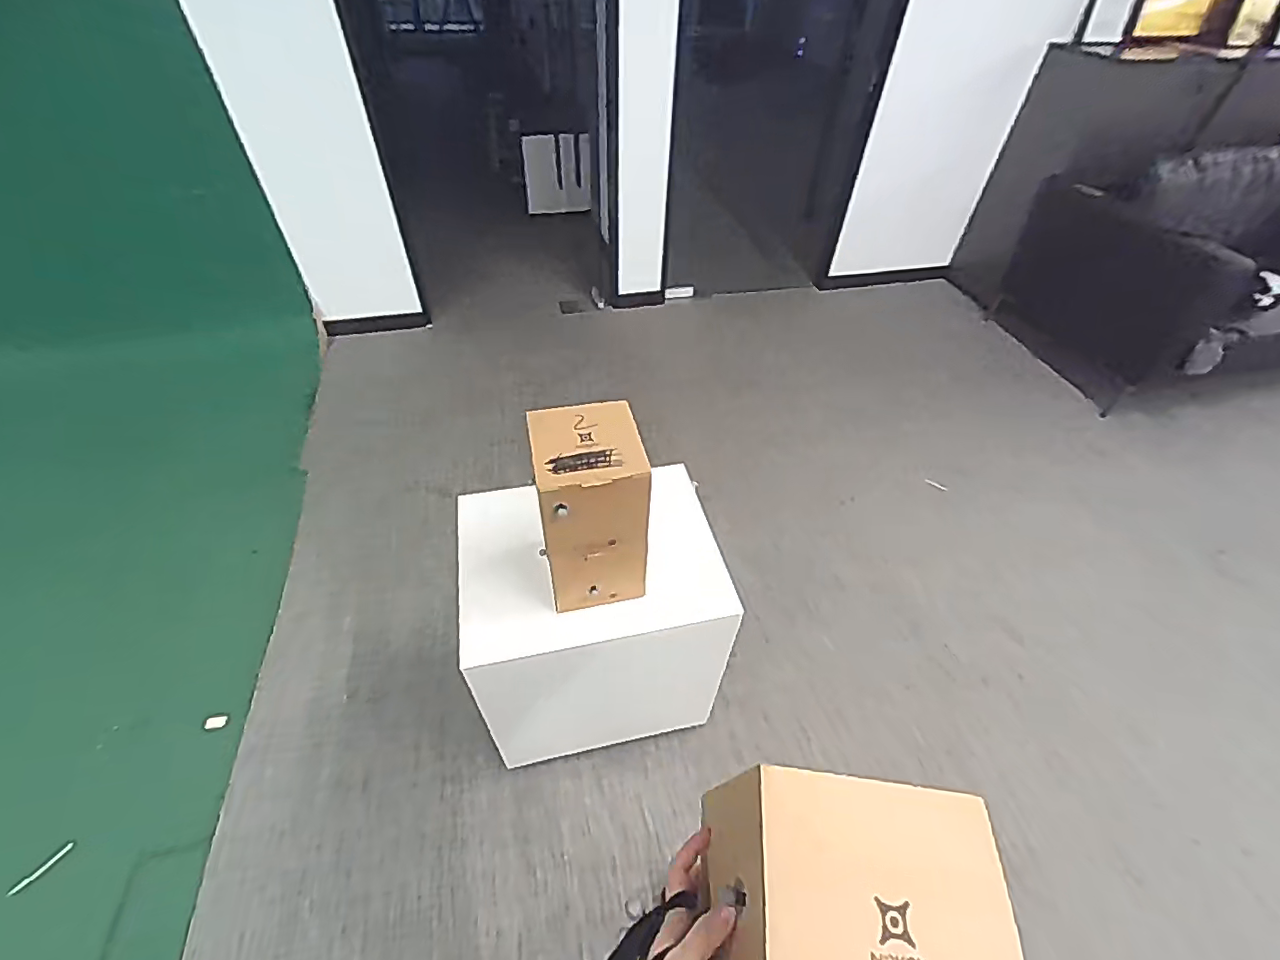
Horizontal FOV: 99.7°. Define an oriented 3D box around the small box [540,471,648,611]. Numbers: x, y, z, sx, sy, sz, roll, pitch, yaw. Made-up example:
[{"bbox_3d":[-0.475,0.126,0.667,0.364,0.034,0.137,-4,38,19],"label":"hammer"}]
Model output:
[{"bbox_3d":[-0.087,0.110,0.983,0.168,0.176,0.179,-9,46,-11],"label":"small box"}]
